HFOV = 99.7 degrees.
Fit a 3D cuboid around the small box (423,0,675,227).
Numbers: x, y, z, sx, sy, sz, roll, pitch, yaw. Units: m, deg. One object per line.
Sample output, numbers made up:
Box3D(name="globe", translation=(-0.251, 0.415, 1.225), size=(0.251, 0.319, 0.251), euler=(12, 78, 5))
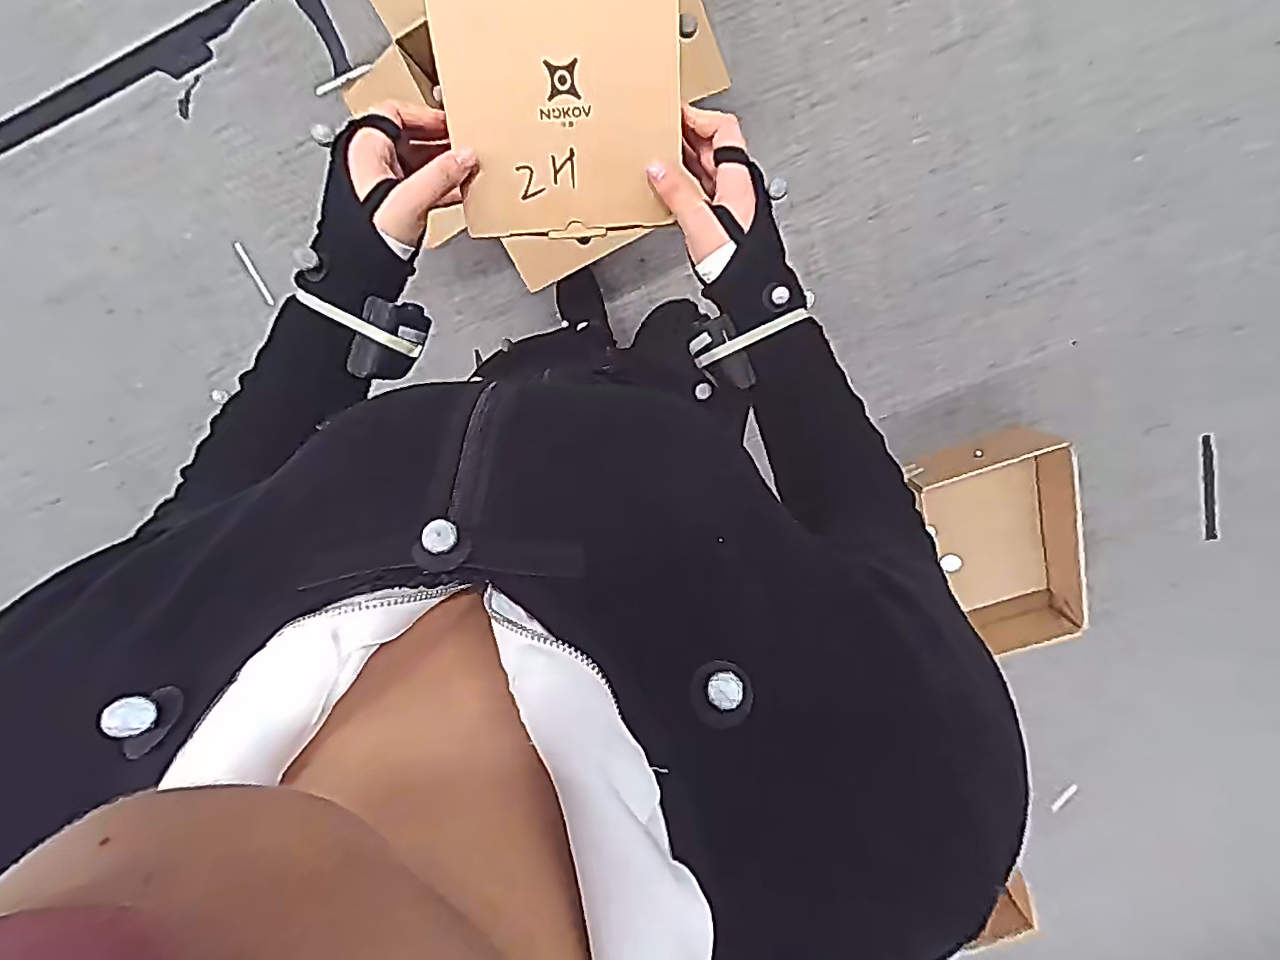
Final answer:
Box3D(name="small box", translation=(-0.063, -0.309, 0.442), size=(0.168, 0.176, 0.179), euler=(-4, 118, -1))
